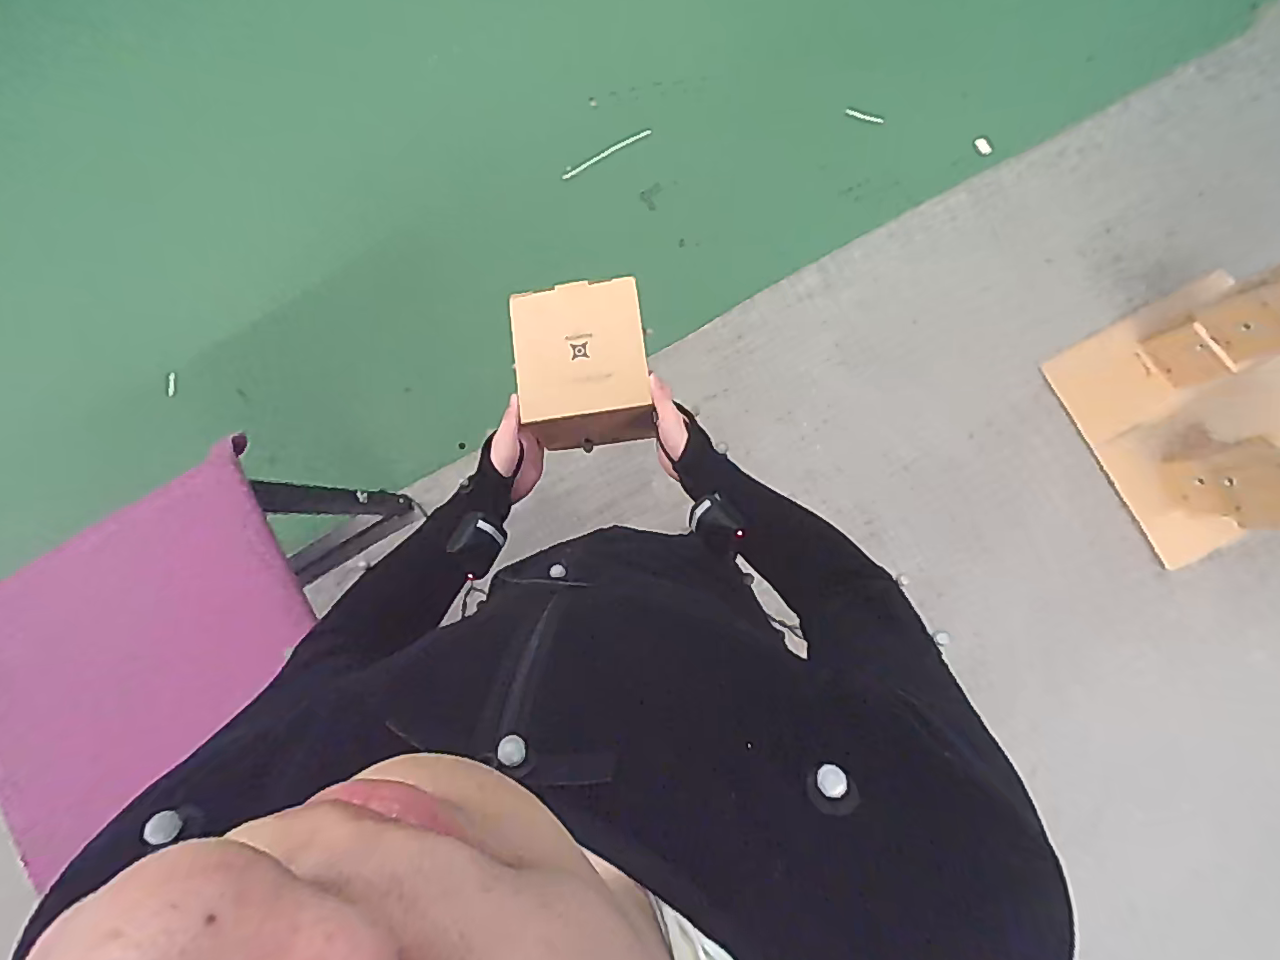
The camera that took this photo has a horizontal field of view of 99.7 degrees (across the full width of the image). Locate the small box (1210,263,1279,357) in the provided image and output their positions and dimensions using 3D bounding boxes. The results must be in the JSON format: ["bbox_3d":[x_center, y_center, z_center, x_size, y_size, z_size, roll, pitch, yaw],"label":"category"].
[{"bbox_3d":[1.561,-0.427,1.311,0.179,0.176,0.168,-35,85,0],"label":"small box"}]

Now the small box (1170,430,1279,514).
[{"bbox_3d":[1.586,-0.014,1.442,0.179,0.176,0.168,-23,84,1],"label":"small box"}]

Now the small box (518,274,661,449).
[{"bbox_3d":[-0.062,-0.153,0.745,0.168,0.176,0.179,-7,80,2],"label":"small box"}]

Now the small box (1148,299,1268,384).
[{"bbox_3d":[1.568,-0.390,1.474,0.179,0.176,0.168,-36,84,0],"label":"small box"}]

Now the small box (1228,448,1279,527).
[{"bbox_3d":[1.564,0.011,1.275,0.179,0.176,0.168,-19,85,1],"label":"small box"}]
